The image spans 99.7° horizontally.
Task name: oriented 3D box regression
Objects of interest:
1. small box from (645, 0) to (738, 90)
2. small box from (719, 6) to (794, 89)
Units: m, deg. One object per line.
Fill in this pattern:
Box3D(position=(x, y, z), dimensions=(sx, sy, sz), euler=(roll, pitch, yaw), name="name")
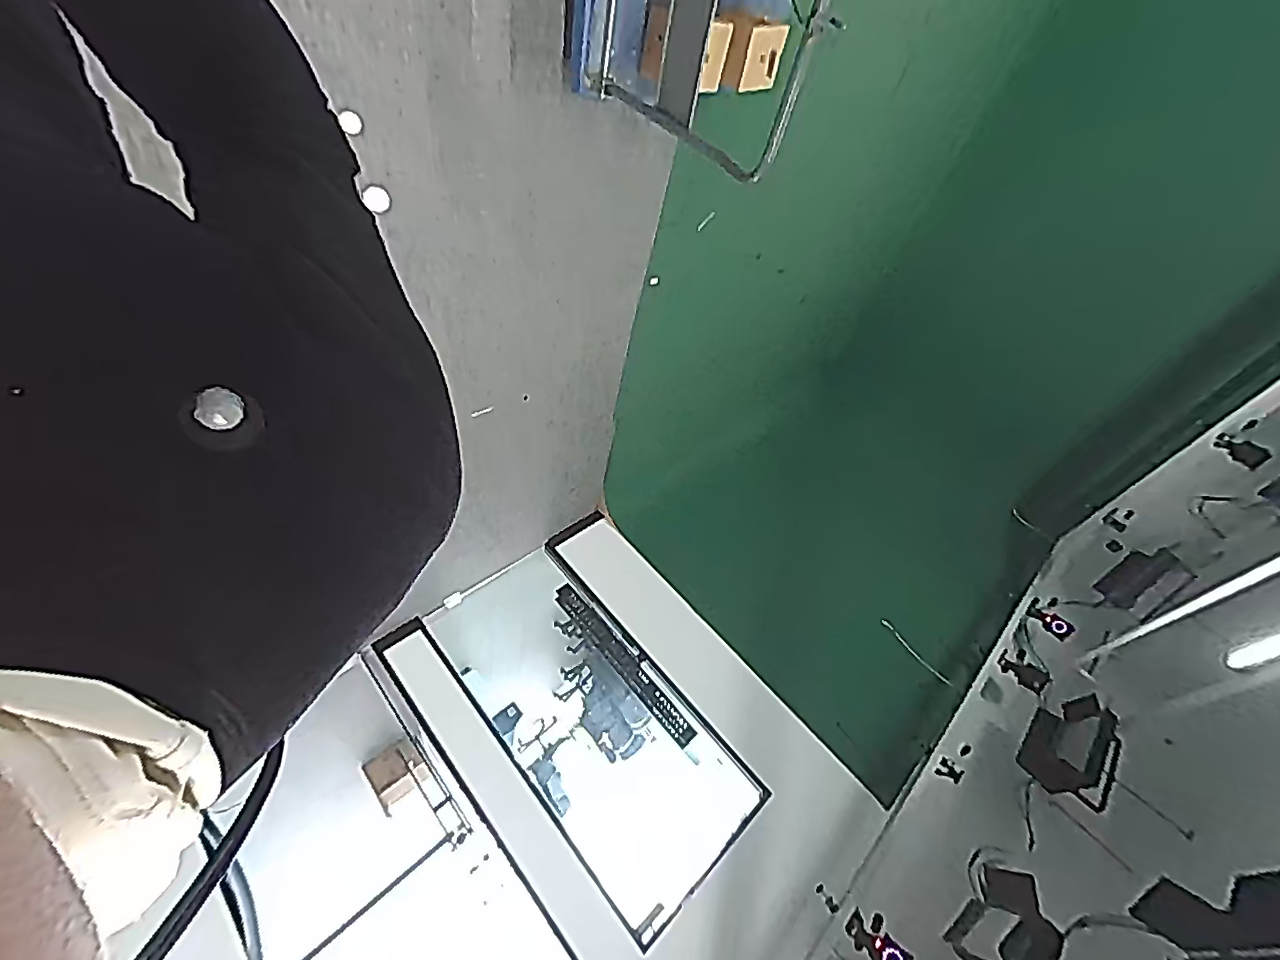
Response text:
Box3D(position=(0.143, -1.246, 1.549), dimensions=(0.179, 0.176, 0.168), euler=(-28, 152, -33), name="small box")
Box3D(position=(0.341, -1.359, 1.694), dimensions=(0.179, 0.176, 0.168), euler=(-31, 152, -29), name="small box")
